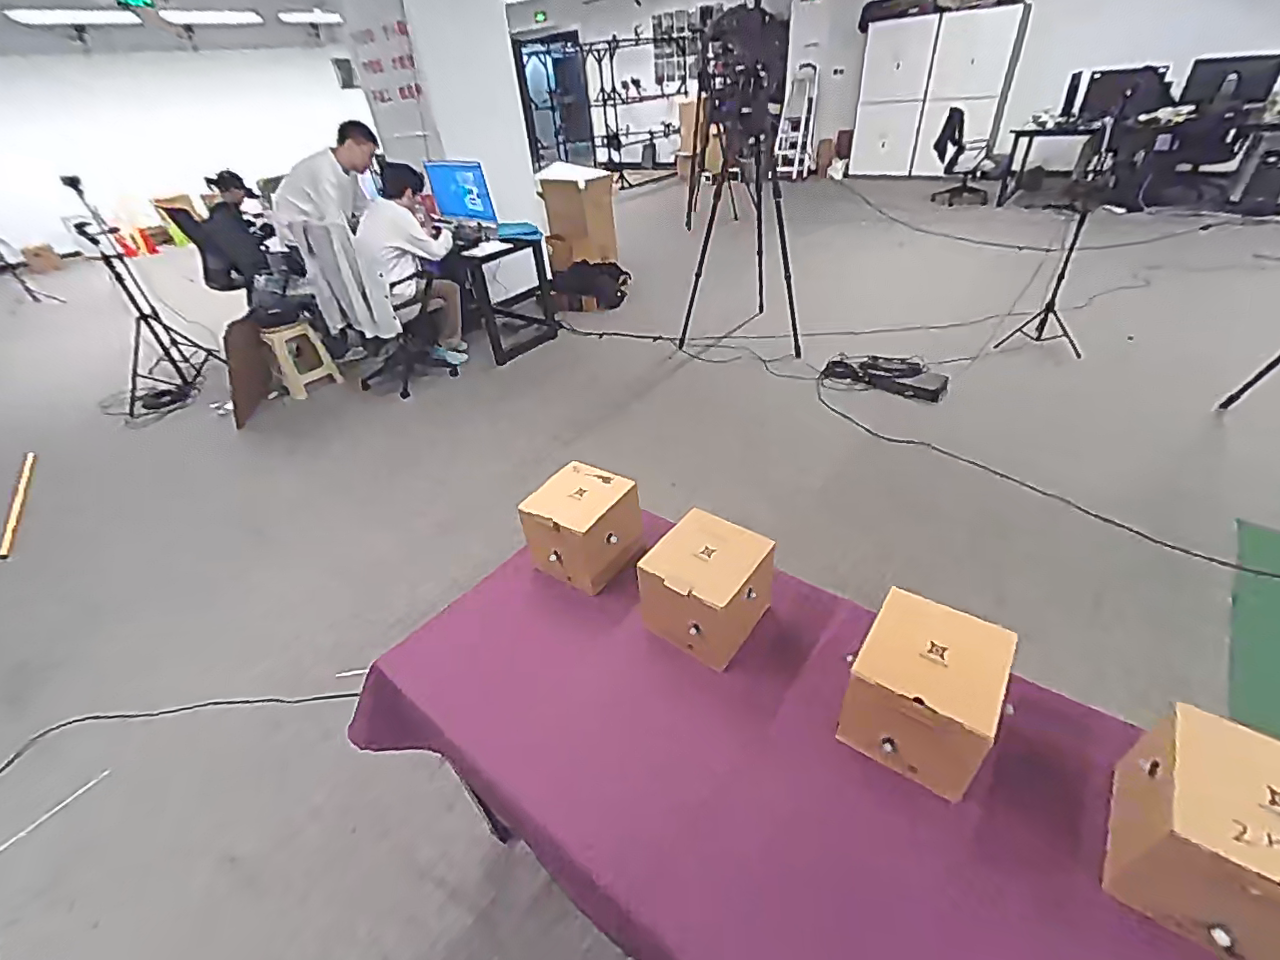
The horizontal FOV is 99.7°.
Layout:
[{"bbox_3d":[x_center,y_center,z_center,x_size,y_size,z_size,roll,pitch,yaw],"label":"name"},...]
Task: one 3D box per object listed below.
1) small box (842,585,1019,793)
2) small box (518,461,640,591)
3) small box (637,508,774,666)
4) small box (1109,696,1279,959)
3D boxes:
[{"bbox_3d":[0.398,0.288,0.759,0.168,0.176,0.179,20,45,31],"label":"small box"},{"bbox_3d":[-0.113,0.094,1.096,0.168,0.176,0.179,19,45,29],"label":"small box"},{"bbox_3d":[0.118,0.185,0.941,0.168,0.176,0.179,23,46,32],"label":"small box"},{"bbox_3d":[0.647,0.384,0.585,0.168,0.176,0.179,21,45,34],"label":"small box"}]
